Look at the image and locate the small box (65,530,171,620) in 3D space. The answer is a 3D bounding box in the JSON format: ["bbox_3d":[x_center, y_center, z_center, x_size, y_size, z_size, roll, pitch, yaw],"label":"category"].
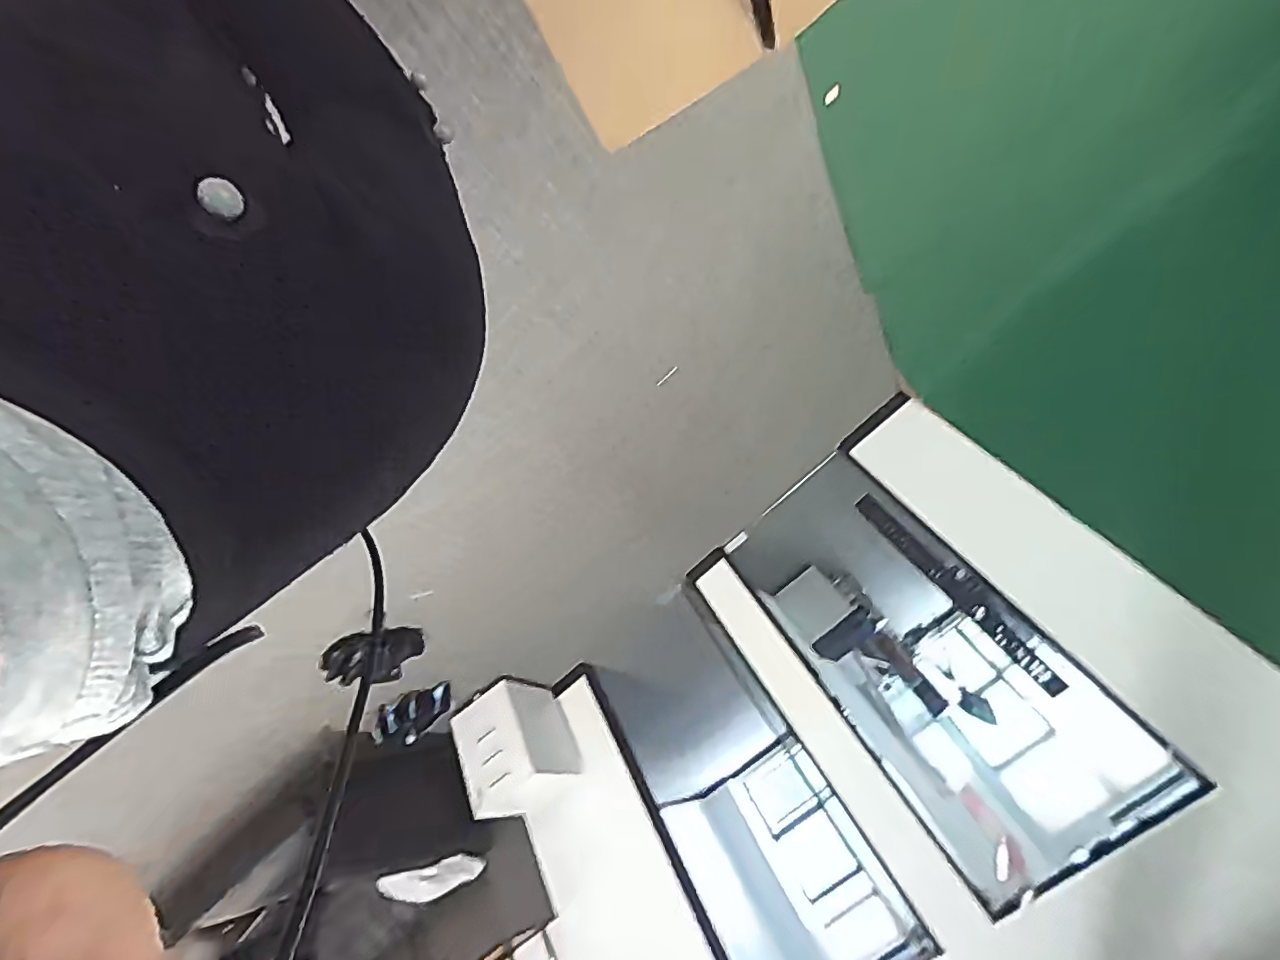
[{"bbox_3d":[-1.495,0.275,1.561,0.179,0.176,0.168,-43,144,10],"label":"small box"}]
